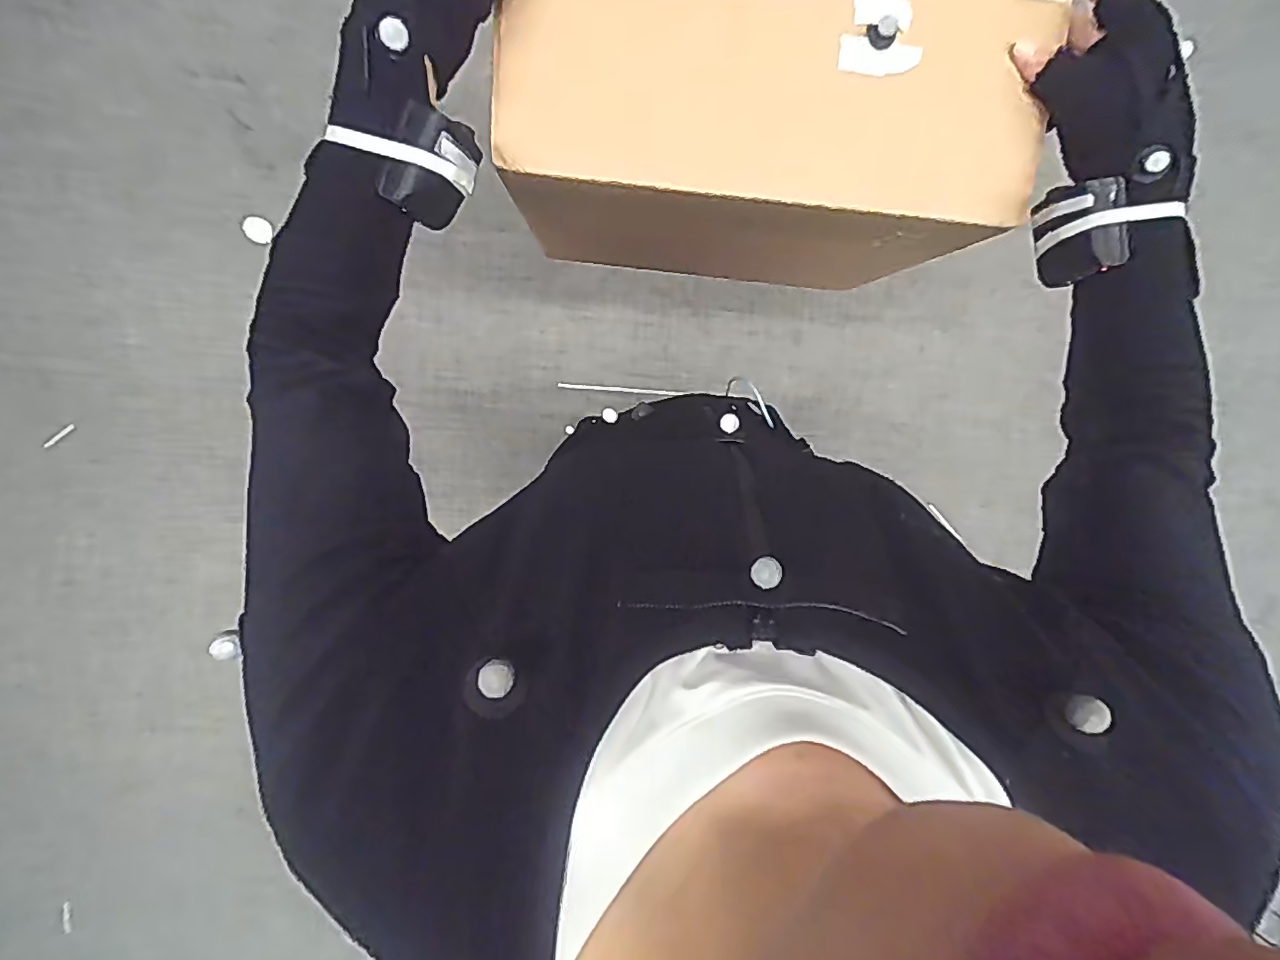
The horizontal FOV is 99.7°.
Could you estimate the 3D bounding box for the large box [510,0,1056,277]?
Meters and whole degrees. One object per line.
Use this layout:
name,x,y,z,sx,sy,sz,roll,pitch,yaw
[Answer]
large box,0.099,-0.400,0.530,0.408,0.320,0.320,4,101,-5
